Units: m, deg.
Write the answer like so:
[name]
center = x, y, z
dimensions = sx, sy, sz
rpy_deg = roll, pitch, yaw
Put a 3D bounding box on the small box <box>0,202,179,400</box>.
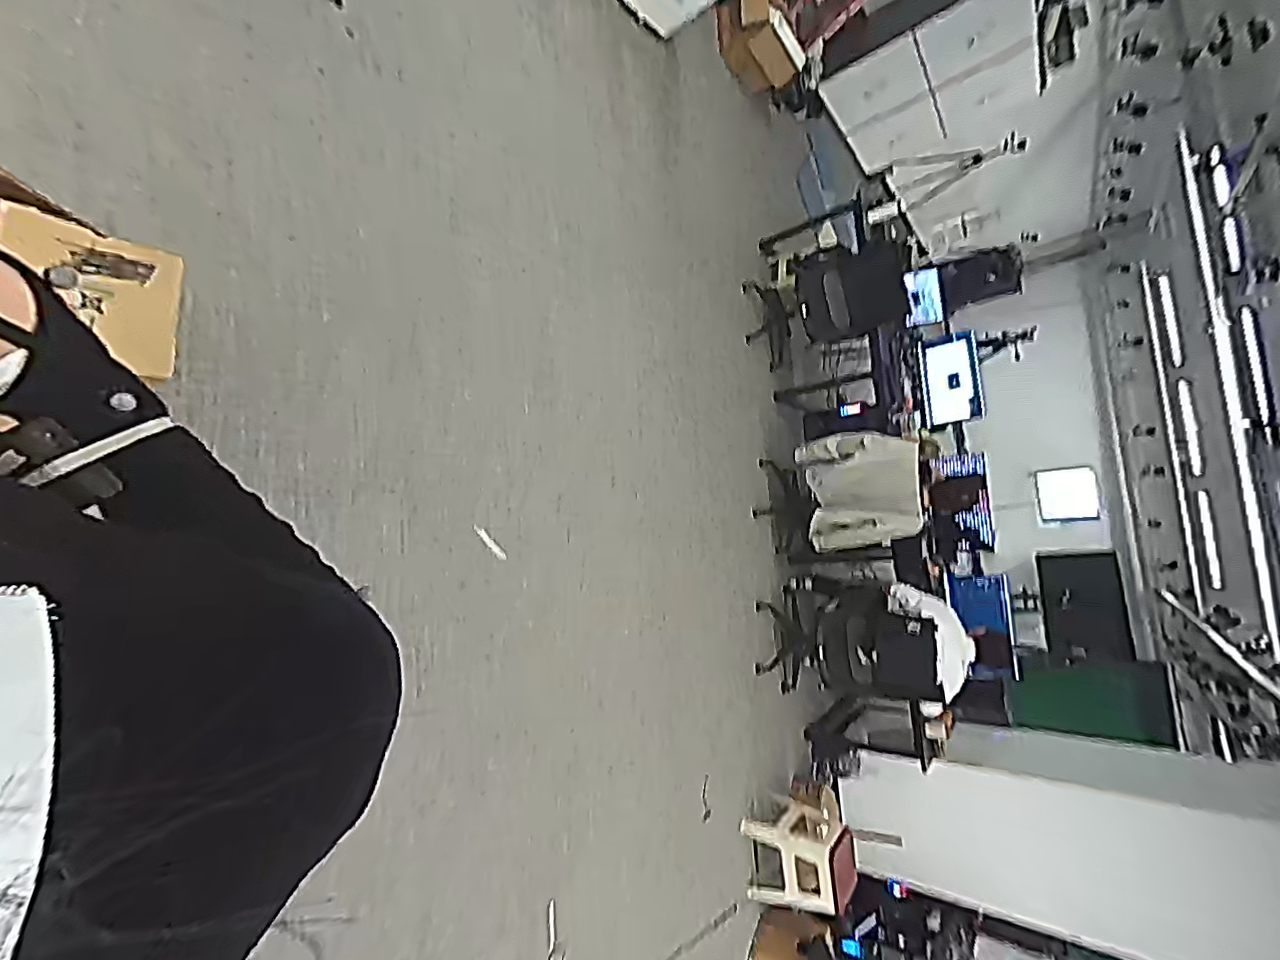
[small box]
center = -0.743, -0.217, 0.711
dimensions = 0.168, 0.176, 0.179
rpy_deg = 9, 78, -53
